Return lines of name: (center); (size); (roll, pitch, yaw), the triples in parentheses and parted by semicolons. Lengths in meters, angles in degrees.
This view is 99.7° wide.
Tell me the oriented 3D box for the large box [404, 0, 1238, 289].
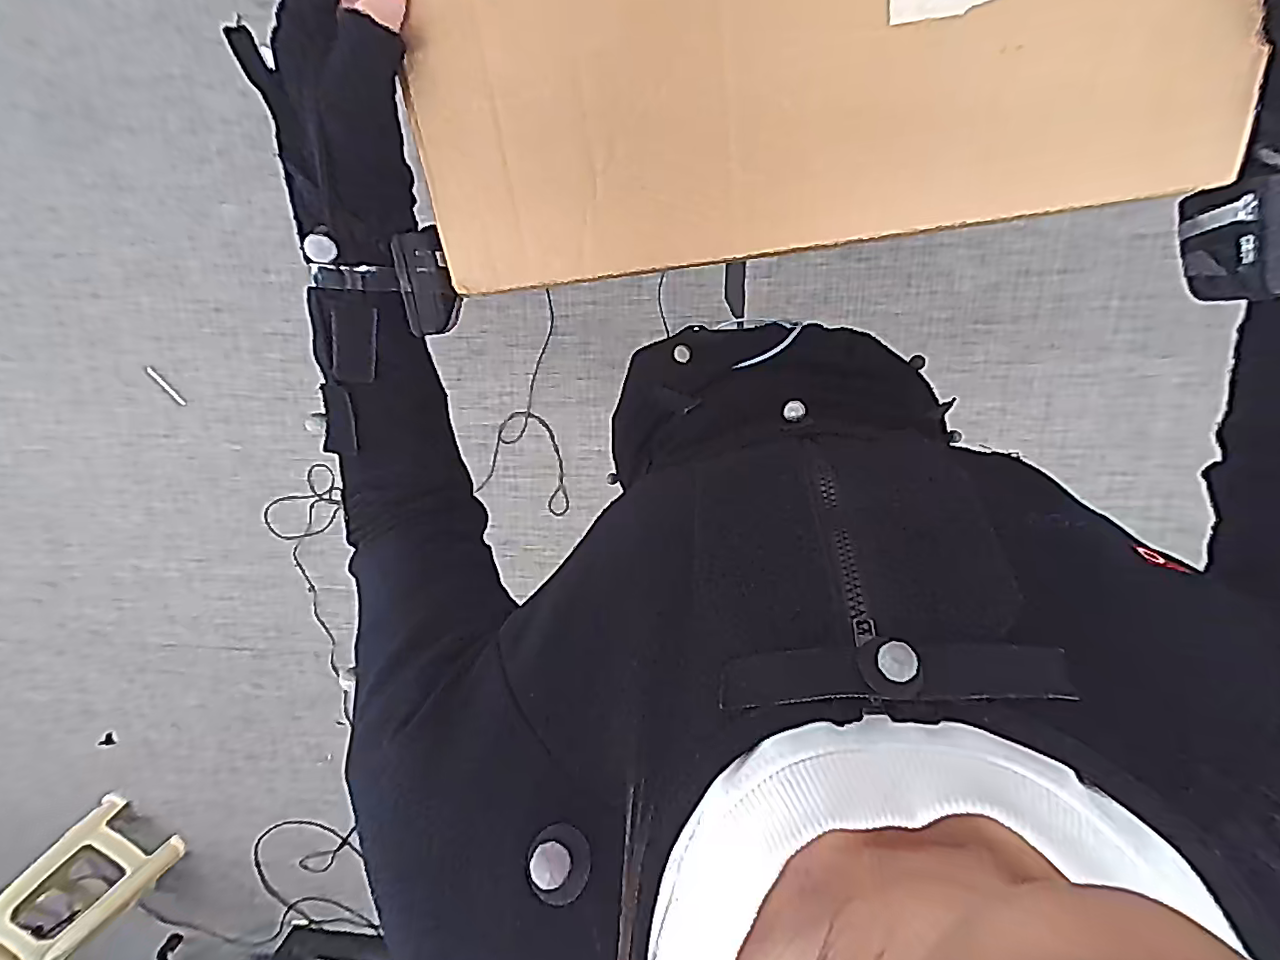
large box: (0.082, -0.334, 0.388); (0.408, 0.320, 0.320); (-6, 112, 8)
